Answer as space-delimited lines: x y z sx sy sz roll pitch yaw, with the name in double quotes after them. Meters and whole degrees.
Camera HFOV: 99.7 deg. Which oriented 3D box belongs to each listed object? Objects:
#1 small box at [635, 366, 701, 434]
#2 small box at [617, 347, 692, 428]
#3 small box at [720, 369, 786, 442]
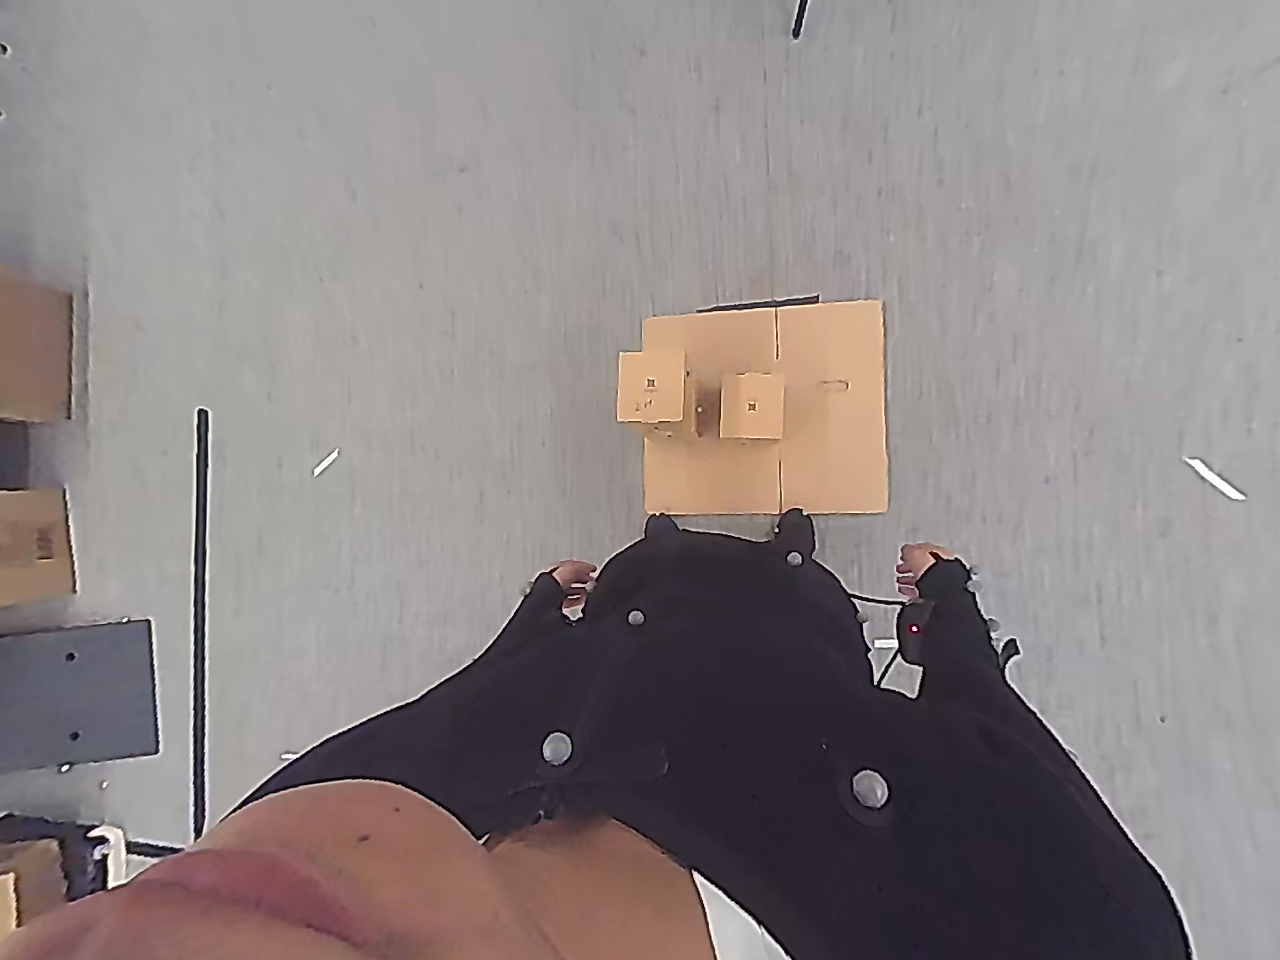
0.085 -0.223 1.547 0.168 0.176 0.179 1 90 12 "small box"
0.043 -0.234 1.387 0.168 0.176 0.179 2 89 12 "small box"
0.310 -0.203 1.502 0.168 0.176 0.179 3 89 10 "small box"
